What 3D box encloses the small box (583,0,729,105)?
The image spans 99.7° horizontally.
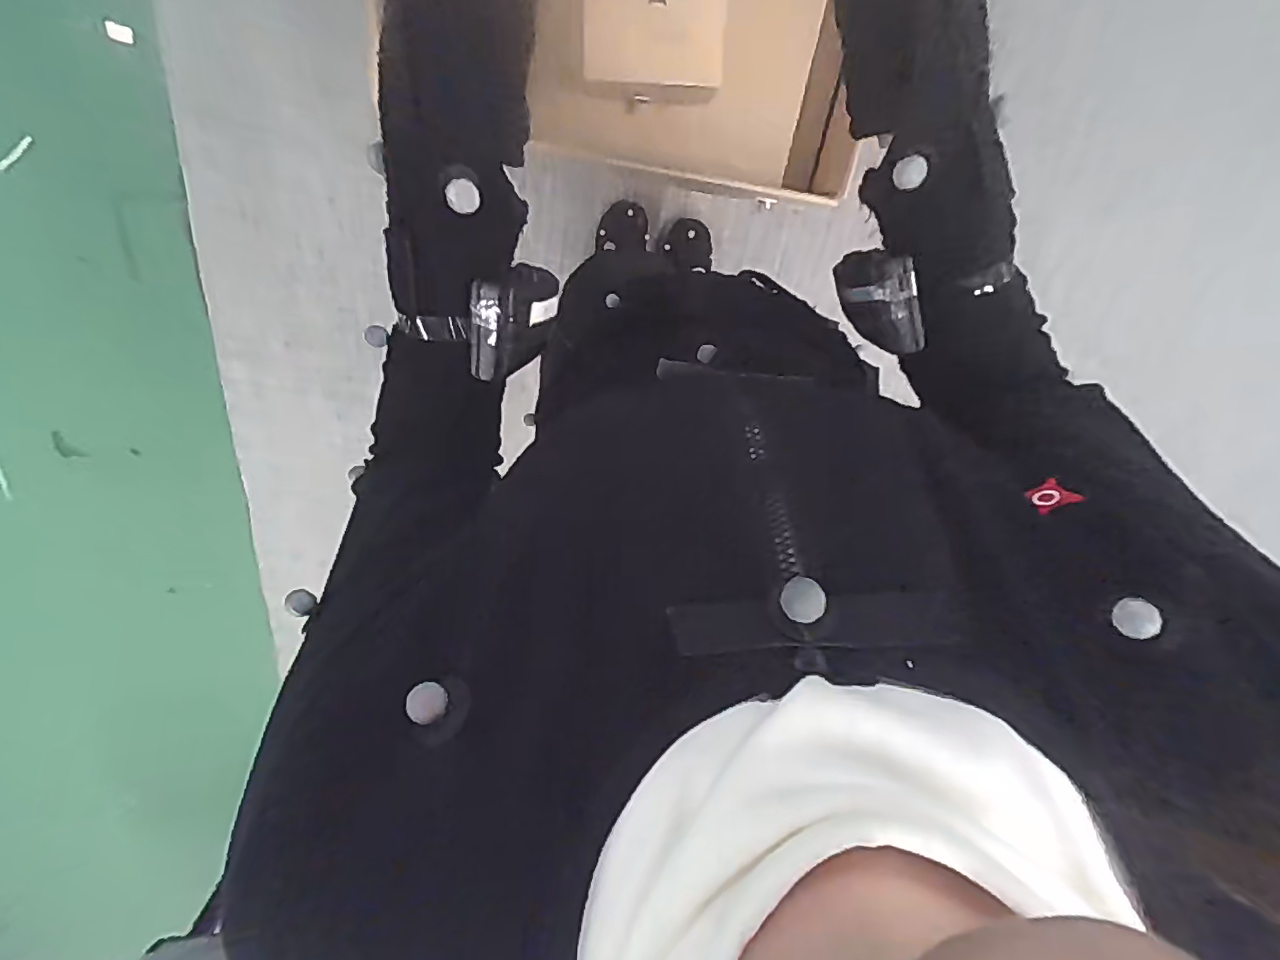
[{"bbox_3d":[0.020,-0.588,0.672,0.168,0.176,0.179,3,119,0],"label":"small box"}]
